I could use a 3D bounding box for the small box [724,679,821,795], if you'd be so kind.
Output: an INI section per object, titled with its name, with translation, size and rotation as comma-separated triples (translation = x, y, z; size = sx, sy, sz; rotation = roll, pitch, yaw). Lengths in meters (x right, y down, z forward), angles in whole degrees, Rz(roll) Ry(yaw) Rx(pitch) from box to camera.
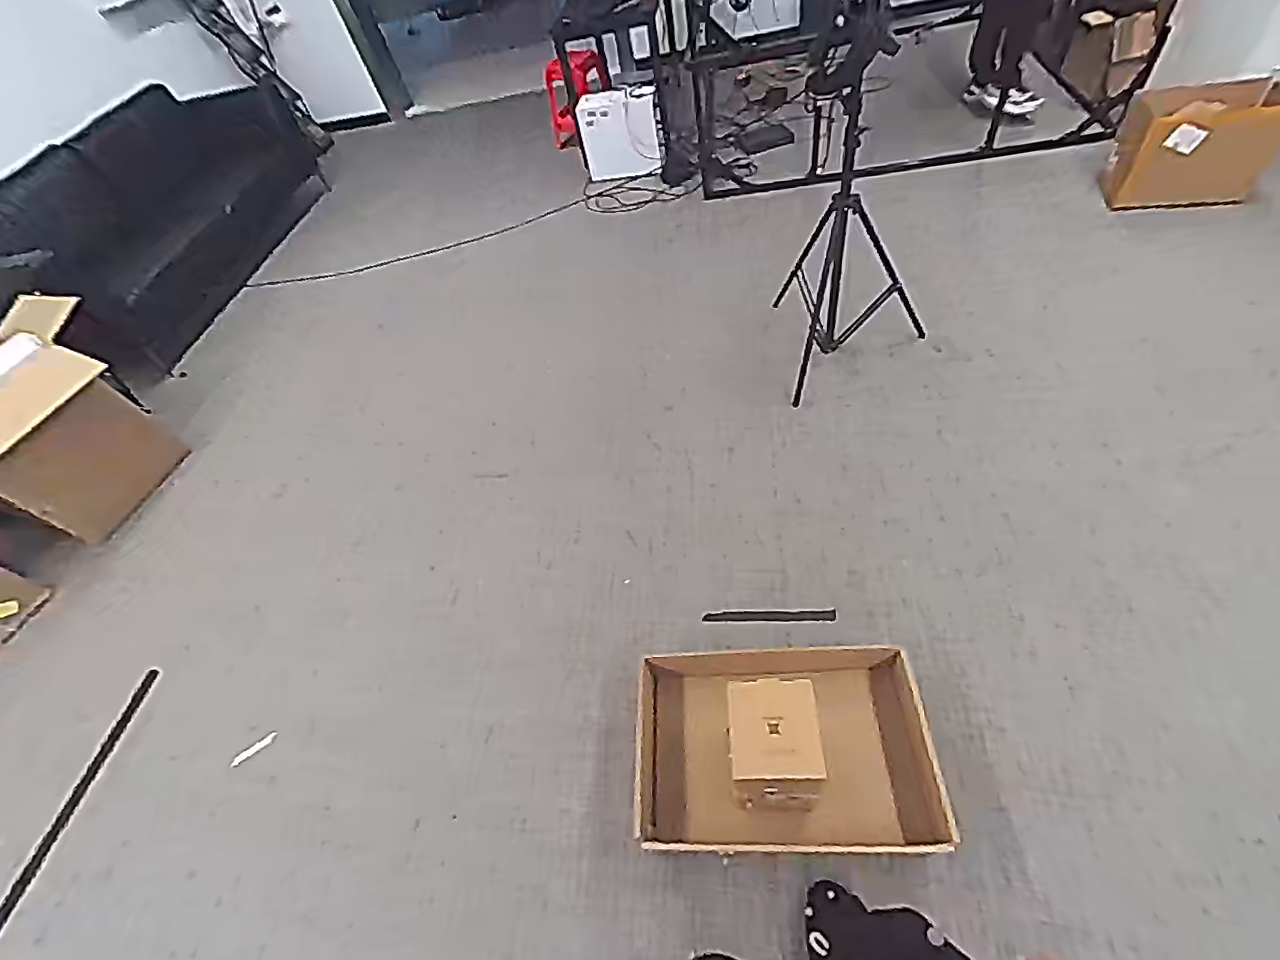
[small box]
translation = 0.257, 0.513, 1.077
size = 0.168, 0.176, 0.179
rotation = -6, 52, 9
